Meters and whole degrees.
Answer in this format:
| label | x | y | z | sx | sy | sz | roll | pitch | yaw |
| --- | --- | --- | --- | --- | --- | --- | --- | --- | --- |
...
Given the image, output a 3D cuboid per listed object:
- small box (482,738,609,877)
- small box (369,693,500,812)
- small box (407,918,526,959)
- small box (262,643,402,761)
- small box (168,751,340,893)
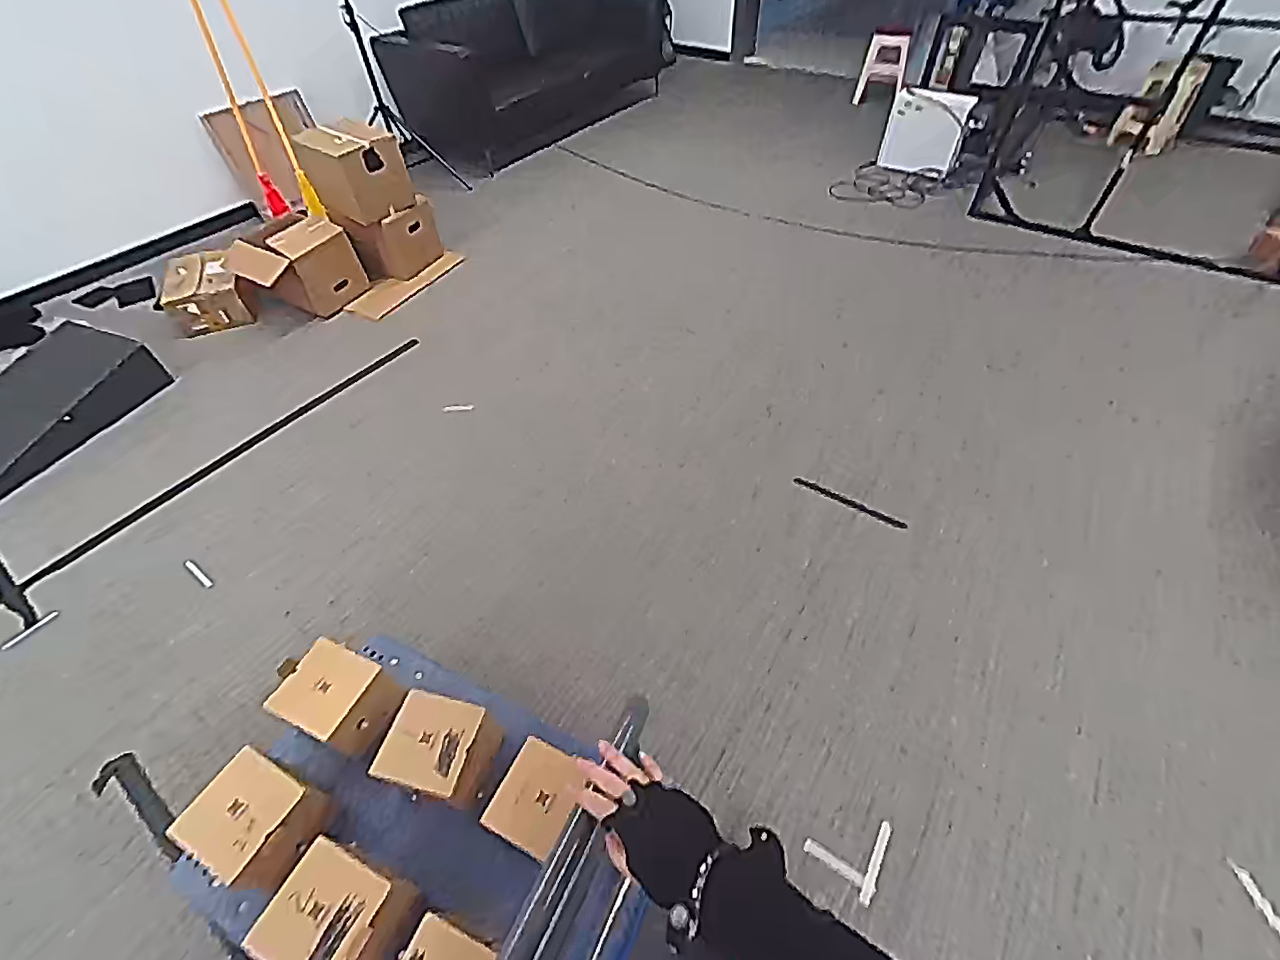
| label | x | y | z | sx | sy | sz | roll | pitch | yaw |
| --- | --- | --- | --- | --- | --- | --- | --- | --- | --- |
| small box | -0.172 | 0.642 | 1.055 | 0.179 | 0.176 | 0.168 | 20 | 52 | 17 |
| small box | -0.410 | 0.568 | 1.120 | 0.179 | 0.176 | 0.168 | 10 | 50 | 10 |
| small box | -0.296 | 0.849 | 0.878 | 0.179 | 0.176 | 0.168 | 17 | 51 | 14 |
| small box | -0.663 | 0.493 | 1.189 | 0.179 | 0.176 | 0.168 | 17 | 52 | 15 |
| small box | -0.730 | 0.664 | 1.042 | 0.179 | 0.176 | 0.168 | 21 | 53 | 17 |
